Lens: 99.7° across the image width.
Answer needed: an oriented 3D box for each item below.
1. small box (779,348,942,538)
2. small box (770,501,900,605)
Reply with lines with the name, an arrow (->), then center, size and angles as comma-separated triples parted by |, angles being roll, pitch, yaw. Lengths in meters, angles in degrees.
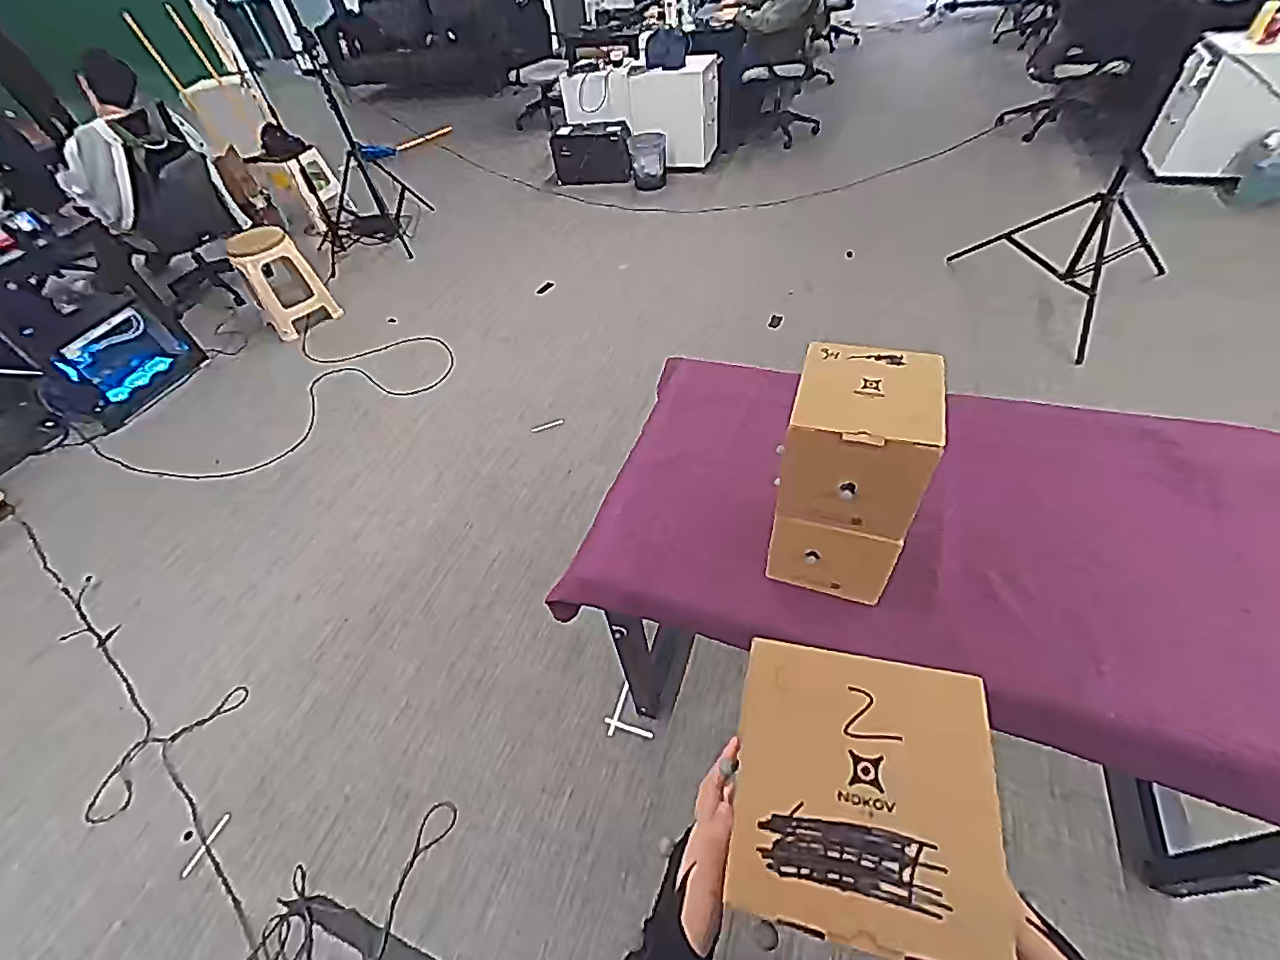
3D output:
small box -> 0.284, -0.047, 0.715 | 0.168, 0.176, 0.179 | 12, 51, 17
small box -> 0.300, 0.066, 0.833 | 0.168, 0.176, 0.179 | 13, 51, 18
